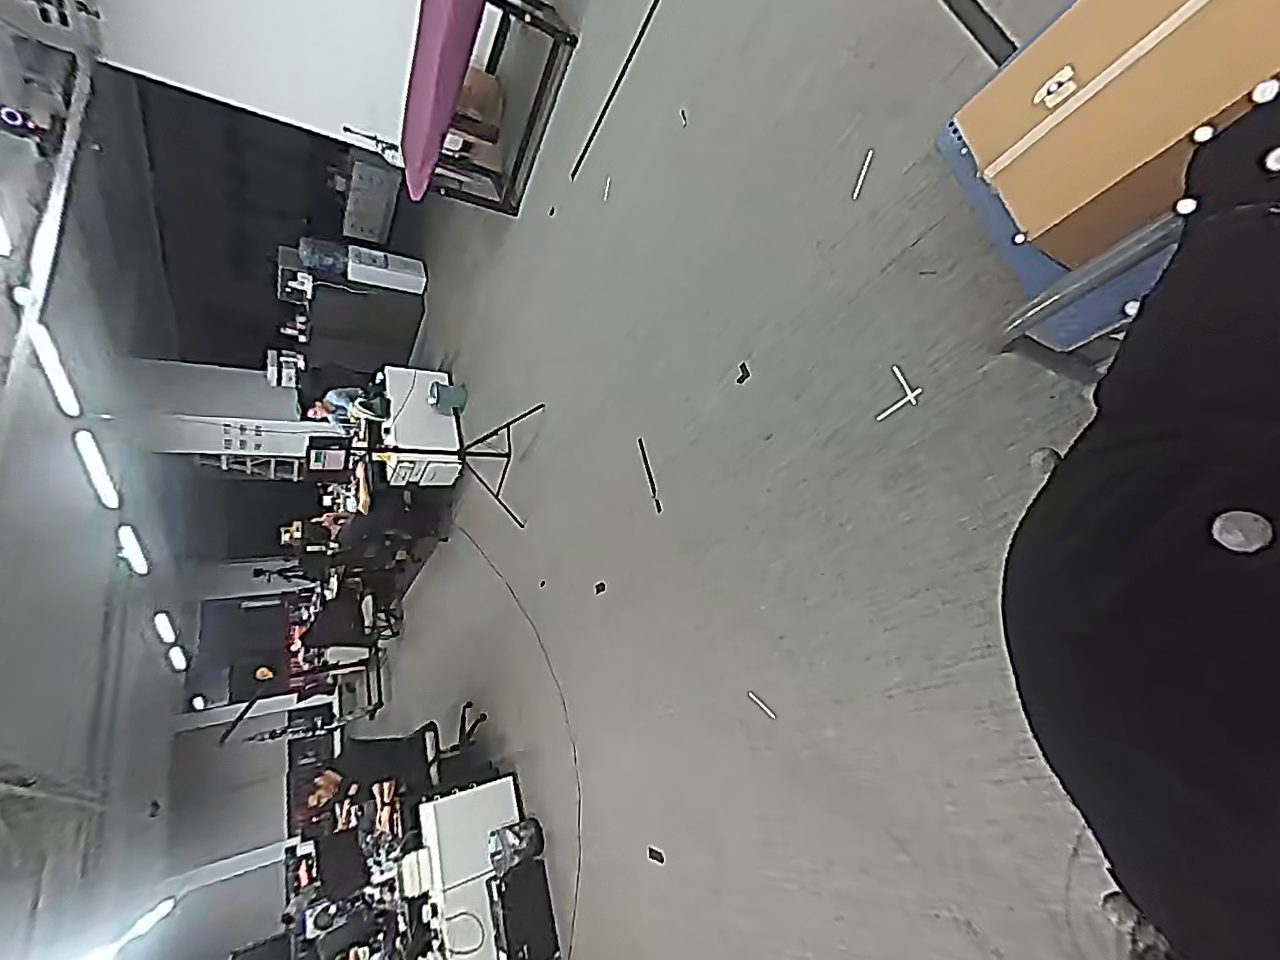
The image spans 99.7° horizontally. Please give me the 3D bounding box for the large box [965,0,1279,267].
[{"bbox_3d":[0.876,-0.643,0.913,0.408,0.320,0.320,-38,58,50],"label":"large box"}]
